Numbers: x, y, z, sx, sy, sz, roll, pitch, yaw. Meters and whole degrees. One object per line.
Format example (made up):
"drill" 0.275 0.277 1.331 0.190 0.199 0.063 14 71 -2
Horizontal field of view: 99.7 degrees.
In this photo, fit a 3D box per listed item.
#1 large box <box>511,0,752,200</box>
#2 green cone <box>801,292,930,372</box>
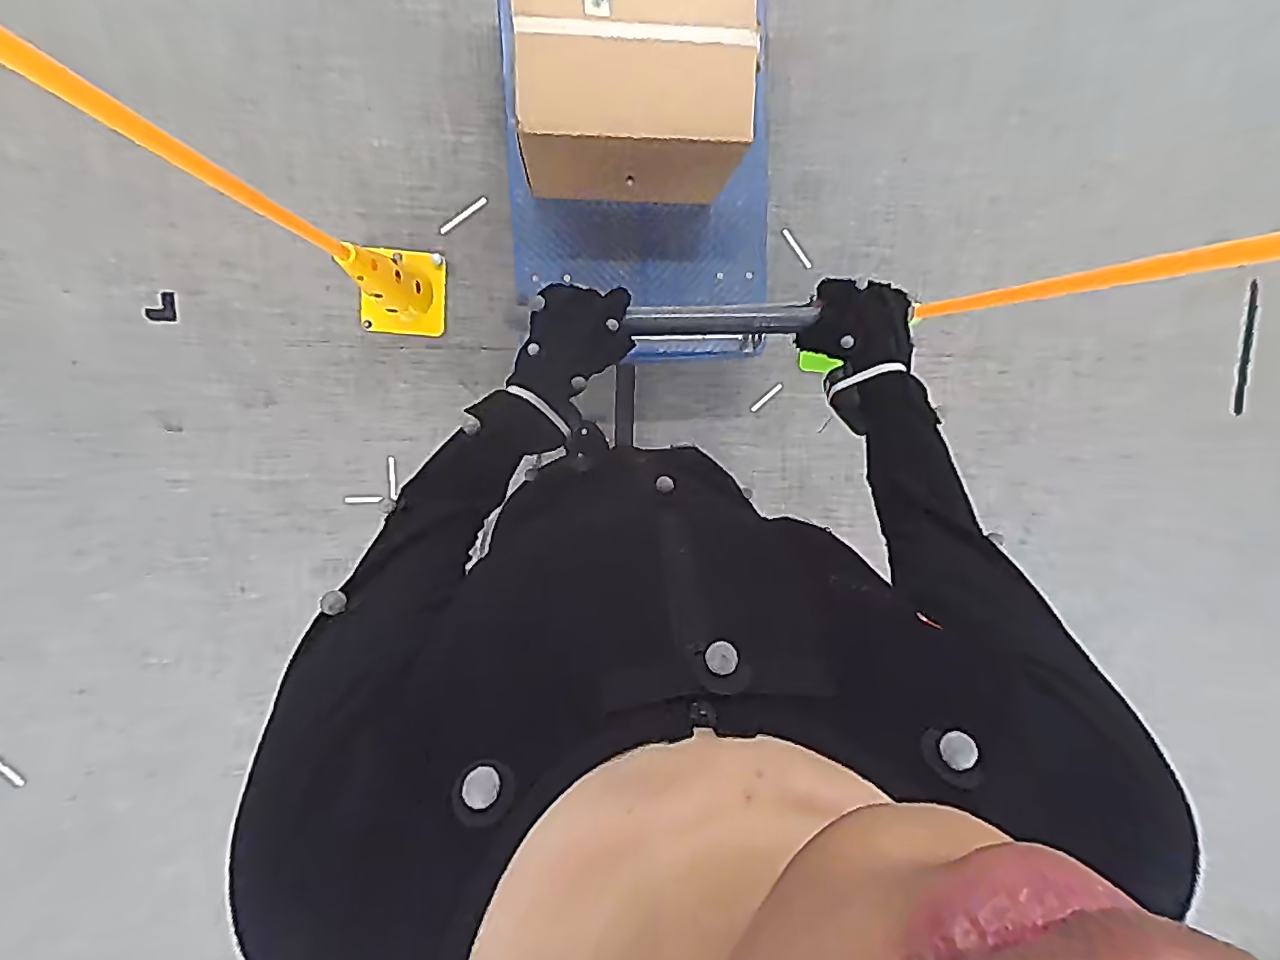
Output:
"large box" -0.022 -0.753 1.040 0.408 0.320 0.320 -1 99 -5
"green cone" 0.557 -0.376 1.294 0.202 0.368 0.200 4 97 -8
